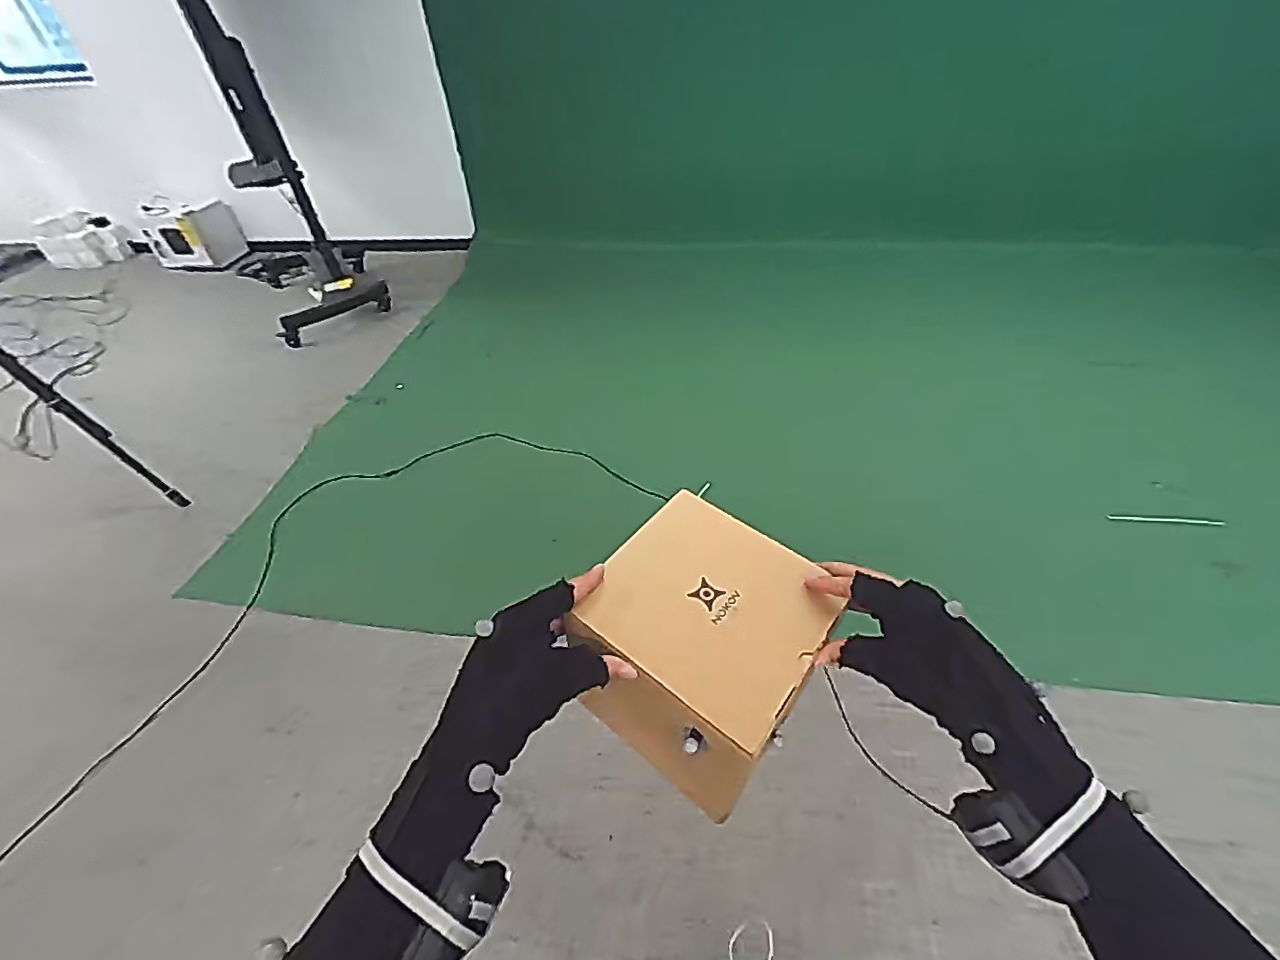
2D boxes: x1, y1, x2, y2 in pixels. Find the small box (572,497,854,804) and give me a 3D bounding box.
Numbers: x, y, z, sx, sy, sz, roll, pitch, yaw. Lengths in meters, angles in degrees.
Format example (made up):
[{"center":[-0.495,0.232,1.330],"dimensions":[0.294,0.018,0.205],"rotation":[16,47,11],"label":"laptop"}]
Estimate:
[{"center":[0.057,0.154,0.494],"dimensions":[0.179,0.176,0.168],"rotation":[32,52,25],"label":"small box"}]
